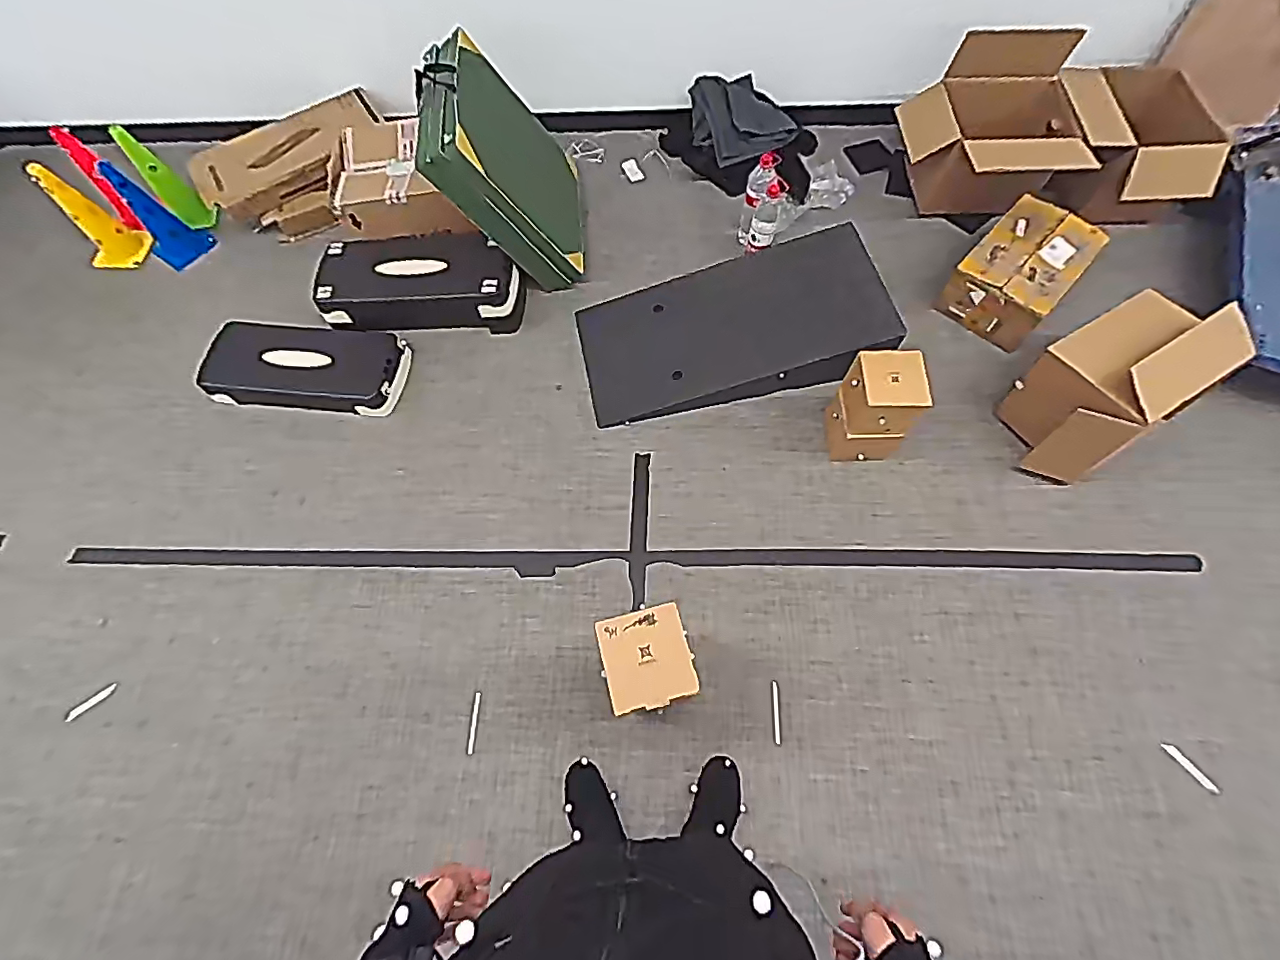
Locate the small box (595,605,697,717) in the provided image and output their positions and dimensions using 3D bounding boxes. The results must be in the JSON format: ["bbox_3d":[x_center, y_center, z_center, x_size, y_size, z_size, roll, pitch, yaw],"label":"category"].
[{"bbox_3d":[0.013,0.369,1.100,0.168,0.176,0.179,-13,67,-4],"label":"small box"}]
